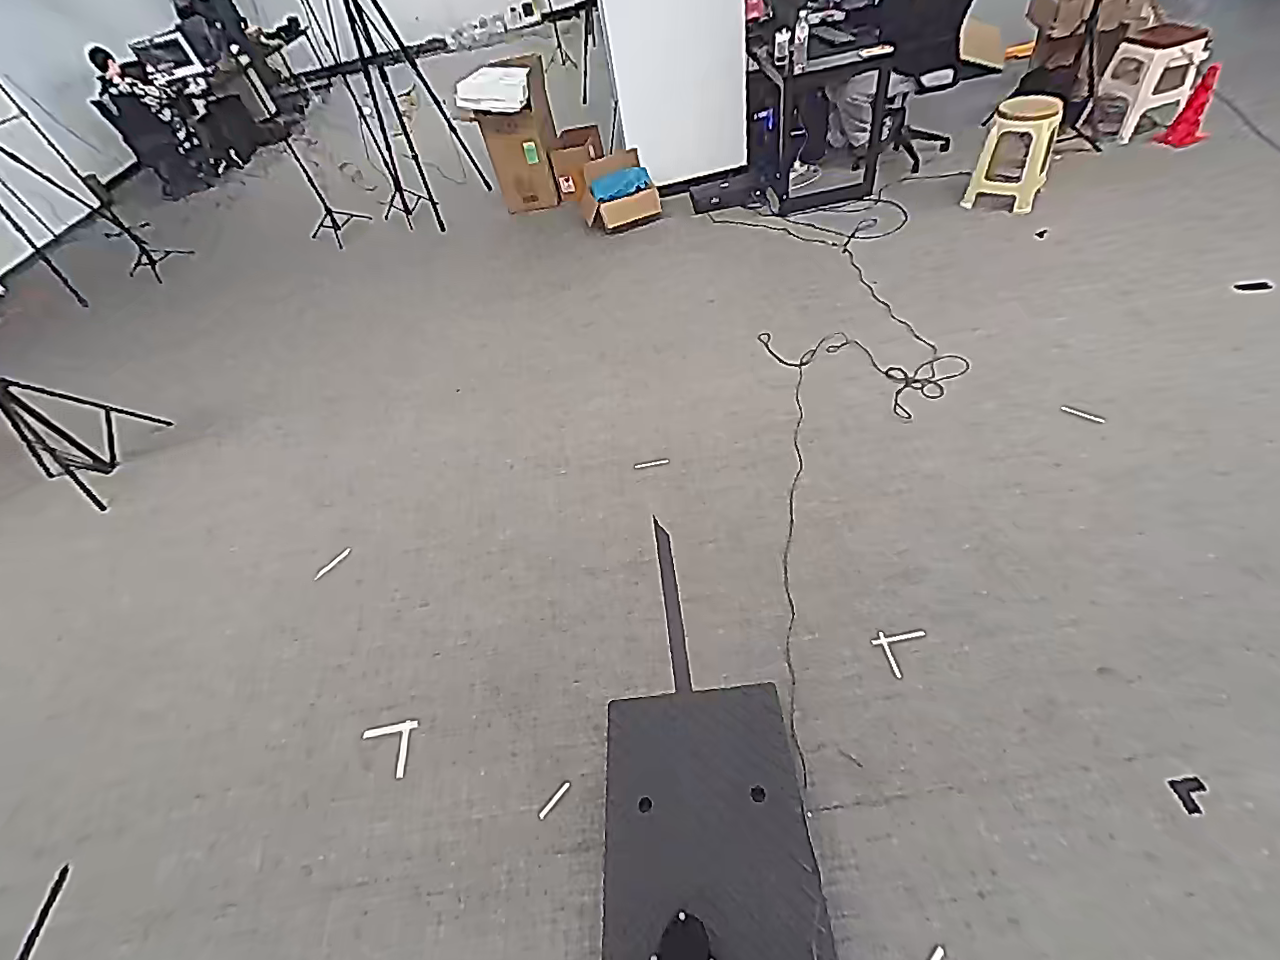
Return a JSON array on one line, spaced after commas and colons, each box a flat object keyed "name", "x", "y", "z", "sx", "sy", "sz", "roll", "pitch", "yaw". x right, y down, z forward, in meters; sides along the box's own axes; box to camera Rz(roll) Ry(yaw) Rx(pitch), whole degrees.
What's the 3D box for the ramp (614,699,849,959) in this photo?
[{"name": "ramp", "x": 0.181, "y": 0.967, "z": 1.172, "sx": 0.509, "sy": 0.206, "sz": 0.991, "roll": -12, "pitch": 46, "yaw": 4}]
